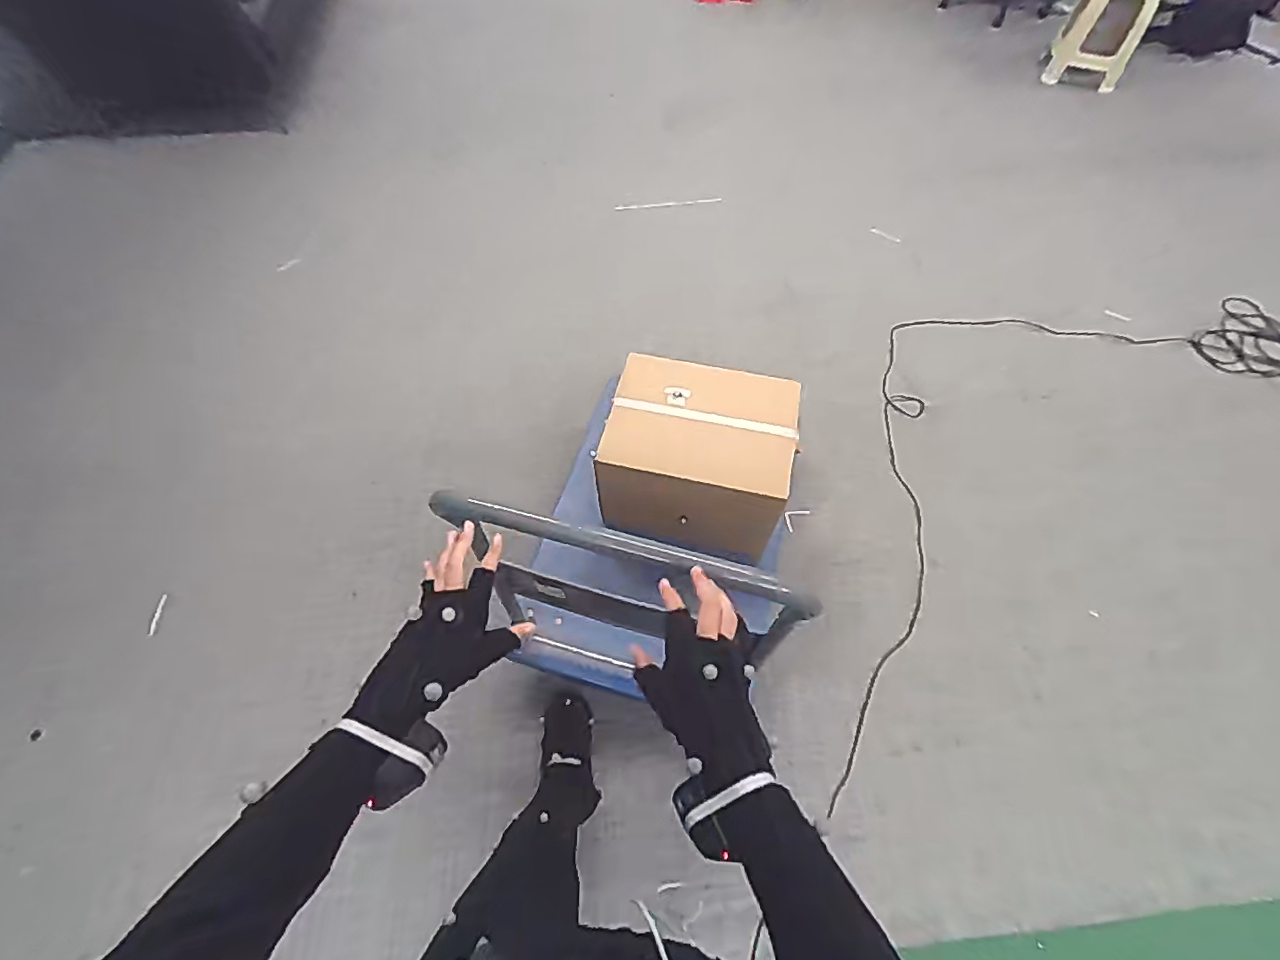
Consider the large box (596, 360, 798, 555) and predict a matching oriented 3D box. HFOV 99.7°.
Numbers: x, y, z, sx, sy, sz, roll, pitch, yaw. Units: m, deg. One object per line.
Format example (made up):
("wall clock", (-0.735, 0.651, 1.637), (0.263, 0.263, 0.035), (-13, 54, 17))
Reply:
("large box", (0.139, -0.047, 1.303), (0.408, 0.320, 0.320), (11, 59, 9))
